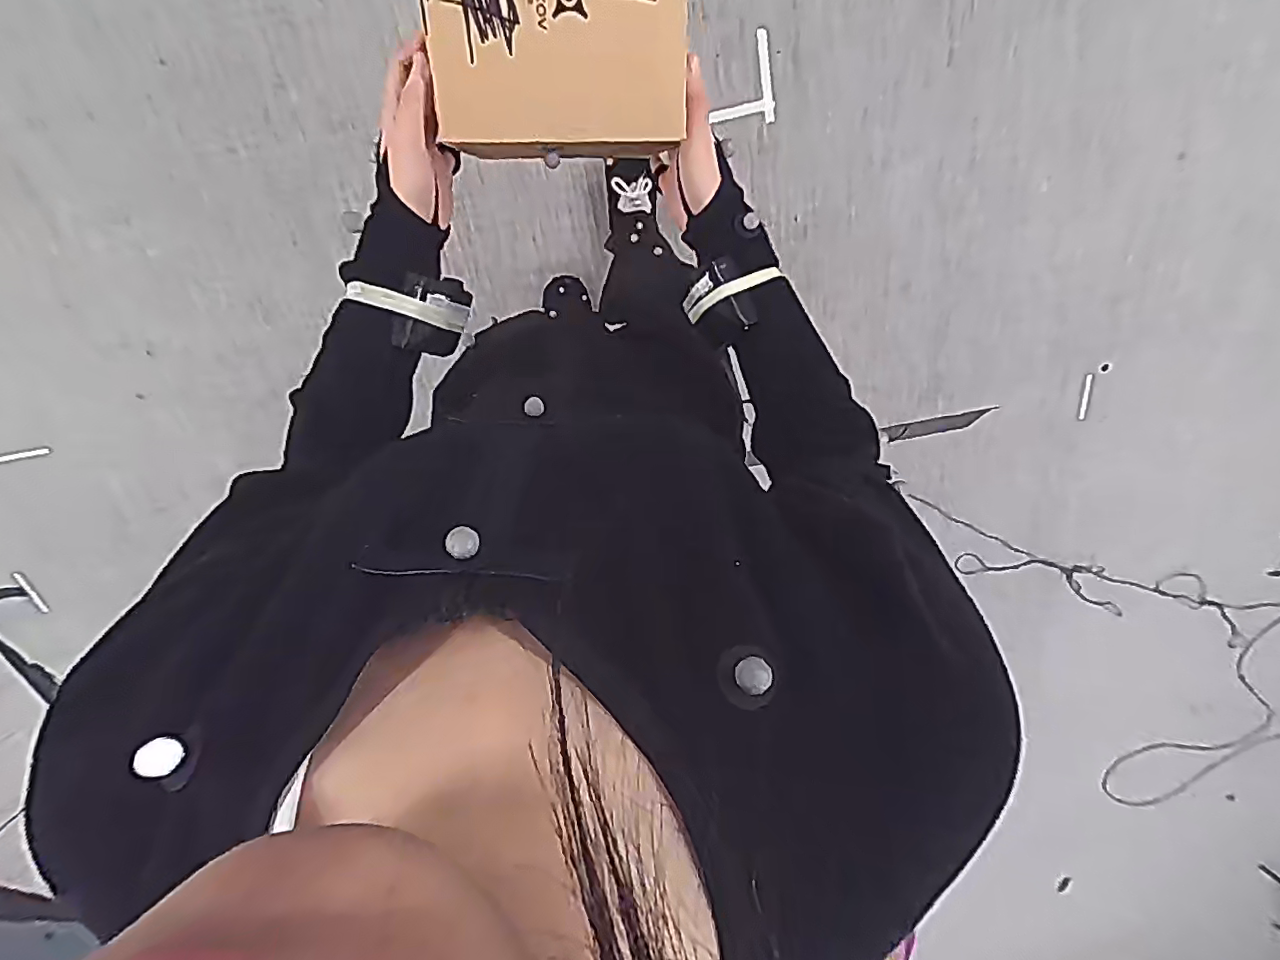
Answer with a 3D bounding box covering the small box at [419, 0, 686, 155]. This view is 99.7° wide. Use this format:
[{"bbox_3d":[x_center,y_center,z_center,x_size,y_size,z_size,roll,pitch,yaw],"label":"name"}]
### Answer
[{"bbox_3d":[-0.063,-0.354,0.420,0.179,0.176,0.168,-4,118,-5],"label":"small box"}]
